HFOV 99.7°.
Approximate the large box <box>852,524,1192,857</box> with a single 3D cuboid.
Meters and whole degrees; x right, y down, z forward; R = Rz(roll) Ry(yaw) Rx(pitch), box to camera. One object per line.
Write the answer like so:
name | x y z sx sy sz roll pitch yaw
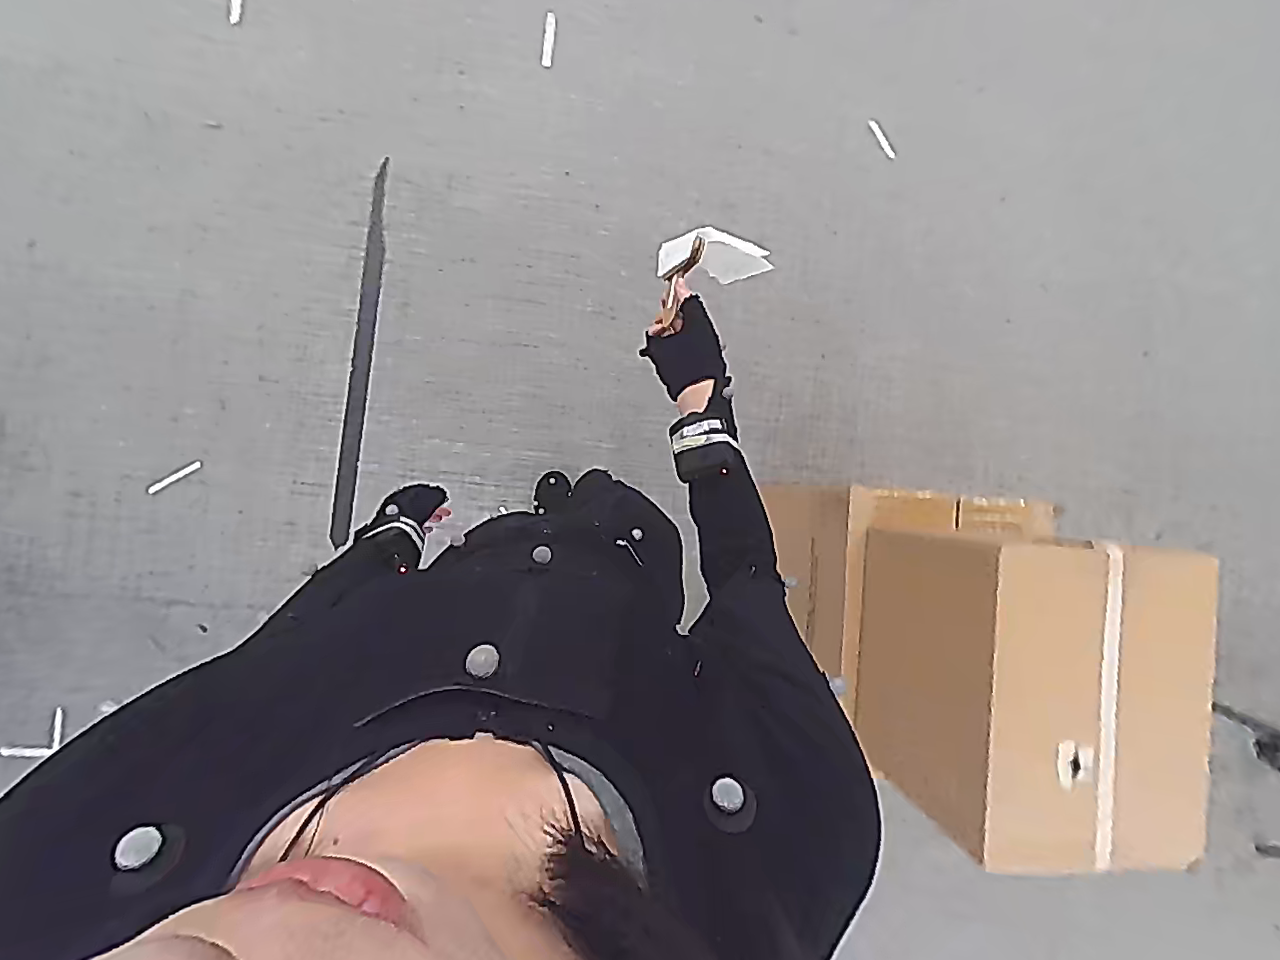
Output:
large box | 0.557 0.283 0.846 0.320 0.320 0.408 4 89 -7
